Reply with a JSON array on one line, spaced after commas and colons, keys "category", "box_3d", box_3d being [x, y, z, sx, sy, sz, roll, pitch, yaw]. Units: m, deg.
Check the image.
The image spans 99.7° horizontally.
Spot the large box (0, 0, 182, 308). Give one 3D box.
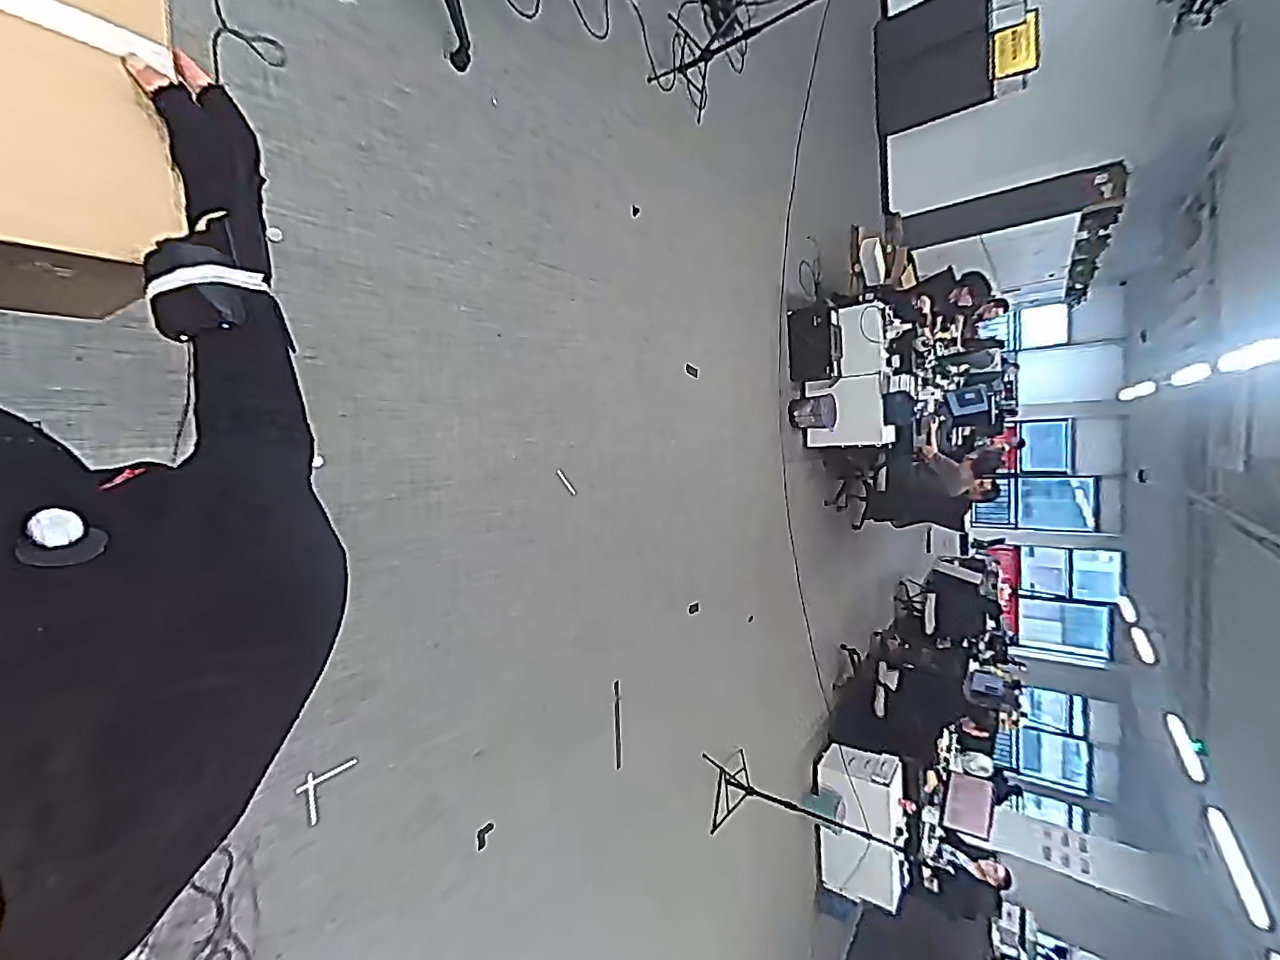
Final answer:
[{"category": "large box", "box_3d": [-0.618, -0.317, 0.356, 0.408, 0.320, 0.320, -9, 101, -55]}]
